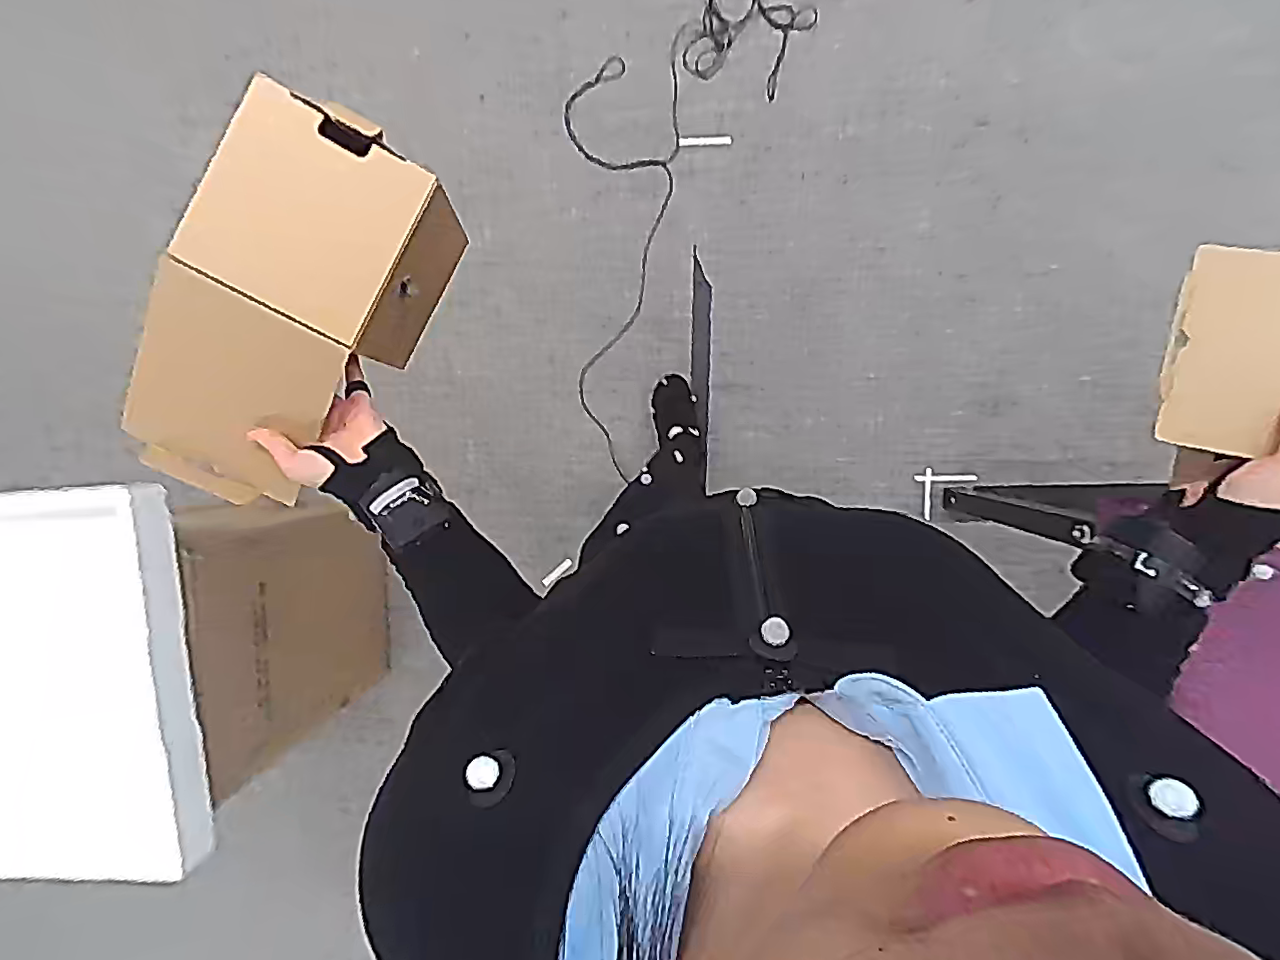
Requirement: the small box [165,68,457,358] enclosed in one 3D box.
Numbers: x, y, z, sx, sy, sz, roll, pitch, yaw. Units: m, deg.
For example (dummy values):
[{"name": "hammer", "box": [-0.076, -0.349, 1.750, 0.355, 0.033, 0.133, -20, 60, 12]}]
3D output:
[{"name": "small box", "box": [-0.305, -0.243, 0.548, 0.168, 0.176, 0.179, 27, 90, -10]}]
